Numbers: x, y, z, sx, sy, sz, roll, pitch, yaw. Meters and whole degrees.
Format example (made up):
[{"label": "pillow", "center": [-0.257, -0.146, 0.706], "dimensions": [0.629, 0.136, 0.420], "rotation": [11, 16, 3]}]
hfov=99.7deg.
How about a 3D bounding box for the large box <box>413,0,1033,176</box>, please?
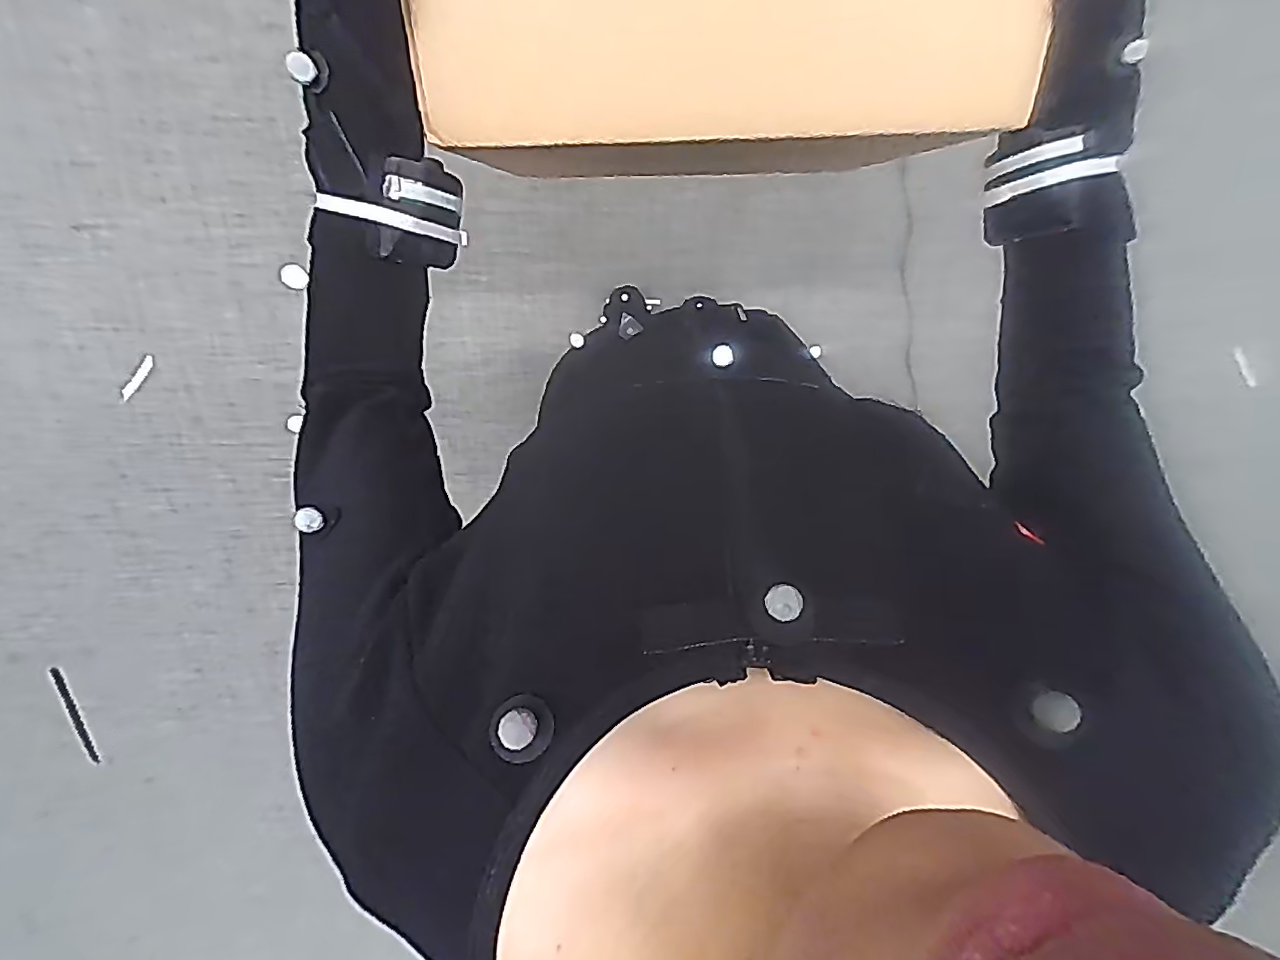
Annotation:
[{"label": "large box", "center": [0.047, -0.446, 0.442], "dimensions": [0.408, 0.320, 0.320], "rotation": [-2, 116, 0]}]
